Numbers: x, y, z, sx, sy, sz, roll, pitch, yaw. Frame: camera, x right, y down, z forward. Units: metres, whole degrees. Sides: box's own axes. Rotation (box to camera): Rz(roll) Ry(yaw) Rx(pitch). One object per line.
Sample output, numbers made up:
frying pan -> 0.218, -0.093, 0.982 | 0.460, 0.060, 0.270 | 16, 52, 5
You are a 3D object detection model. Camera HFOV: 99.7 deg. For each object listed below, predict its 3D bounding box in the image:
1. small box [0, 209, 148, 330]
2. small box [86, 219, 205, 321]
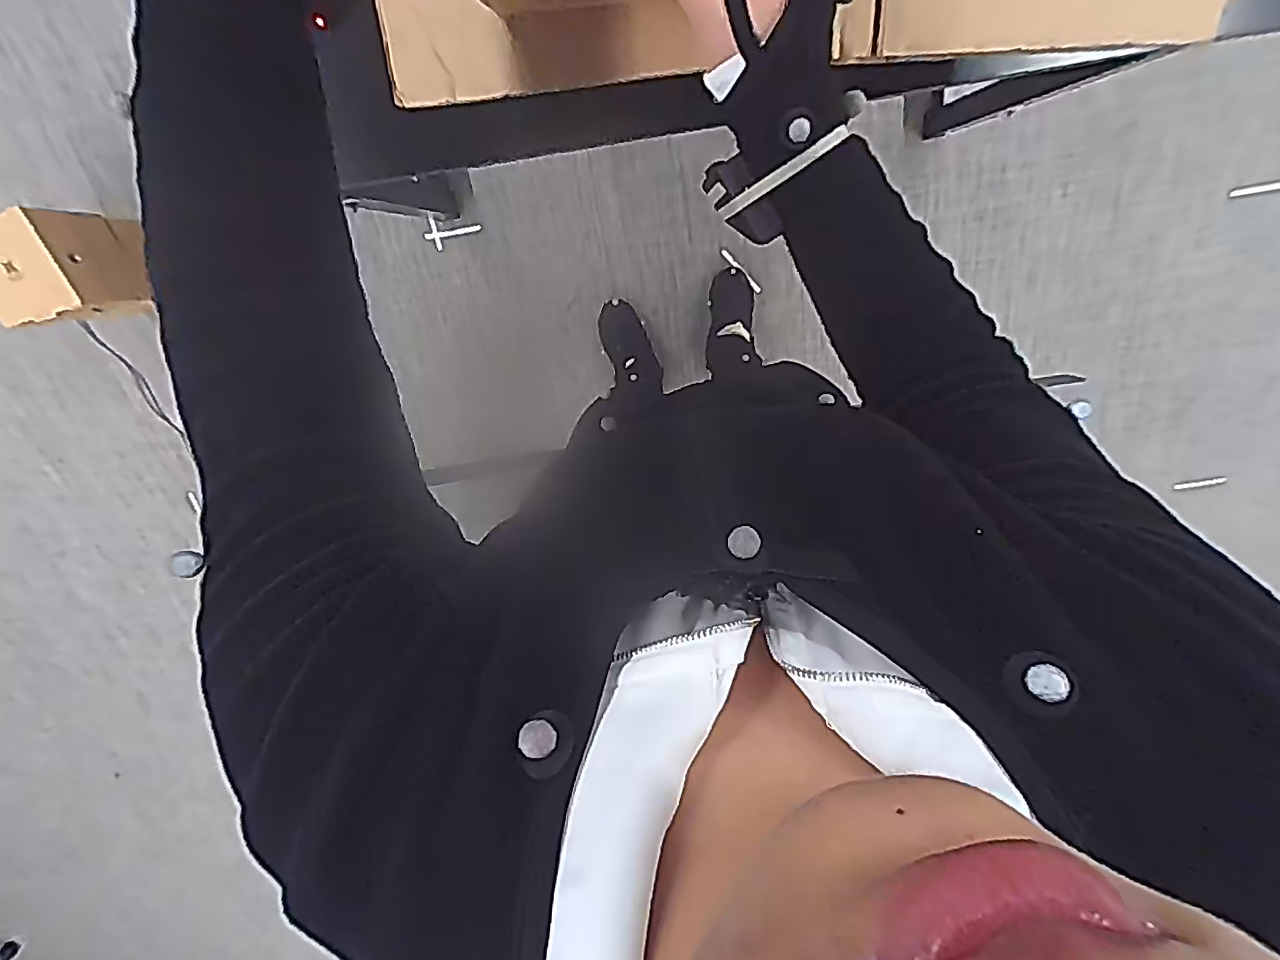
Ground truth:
small box -> -1.142, -0.412, 1.061 | 0.168, 0.176, 0.179 | -16, 111, 3
small box -> -1.146, -0.469, 1.213 | 0.168, 0.176, 0.179 | -13, 113, 3
